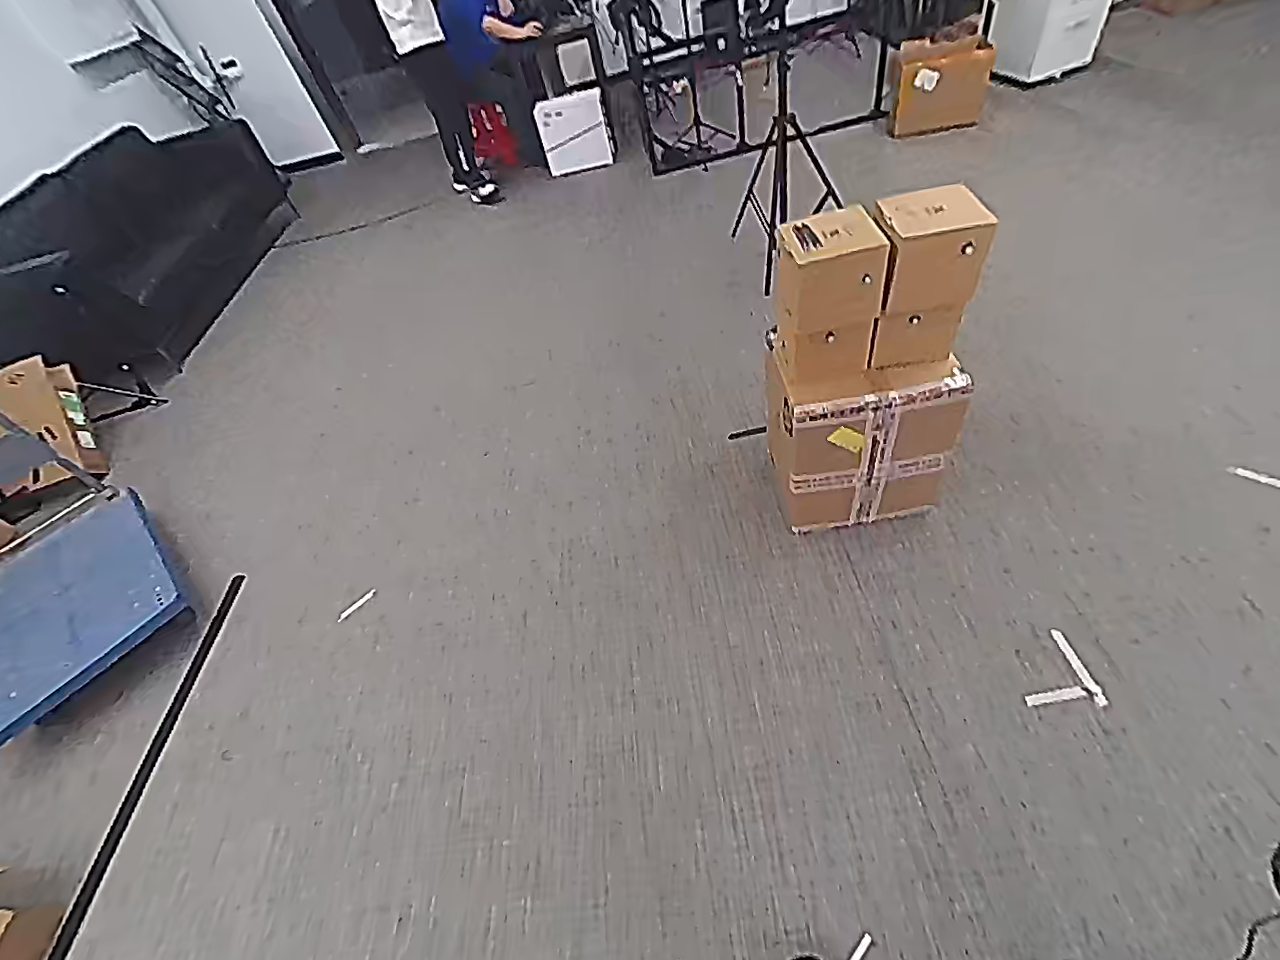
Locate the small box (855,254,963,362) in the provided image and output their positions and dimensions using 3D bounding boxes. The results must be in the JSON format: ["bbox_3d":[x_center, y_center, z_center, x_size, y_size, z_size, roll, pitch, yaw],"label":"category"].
[{"bbox_3d":[0.605,-0.389,1.245,0.179,0.176,0.168,-5,51,8],"label":"small box"}]
